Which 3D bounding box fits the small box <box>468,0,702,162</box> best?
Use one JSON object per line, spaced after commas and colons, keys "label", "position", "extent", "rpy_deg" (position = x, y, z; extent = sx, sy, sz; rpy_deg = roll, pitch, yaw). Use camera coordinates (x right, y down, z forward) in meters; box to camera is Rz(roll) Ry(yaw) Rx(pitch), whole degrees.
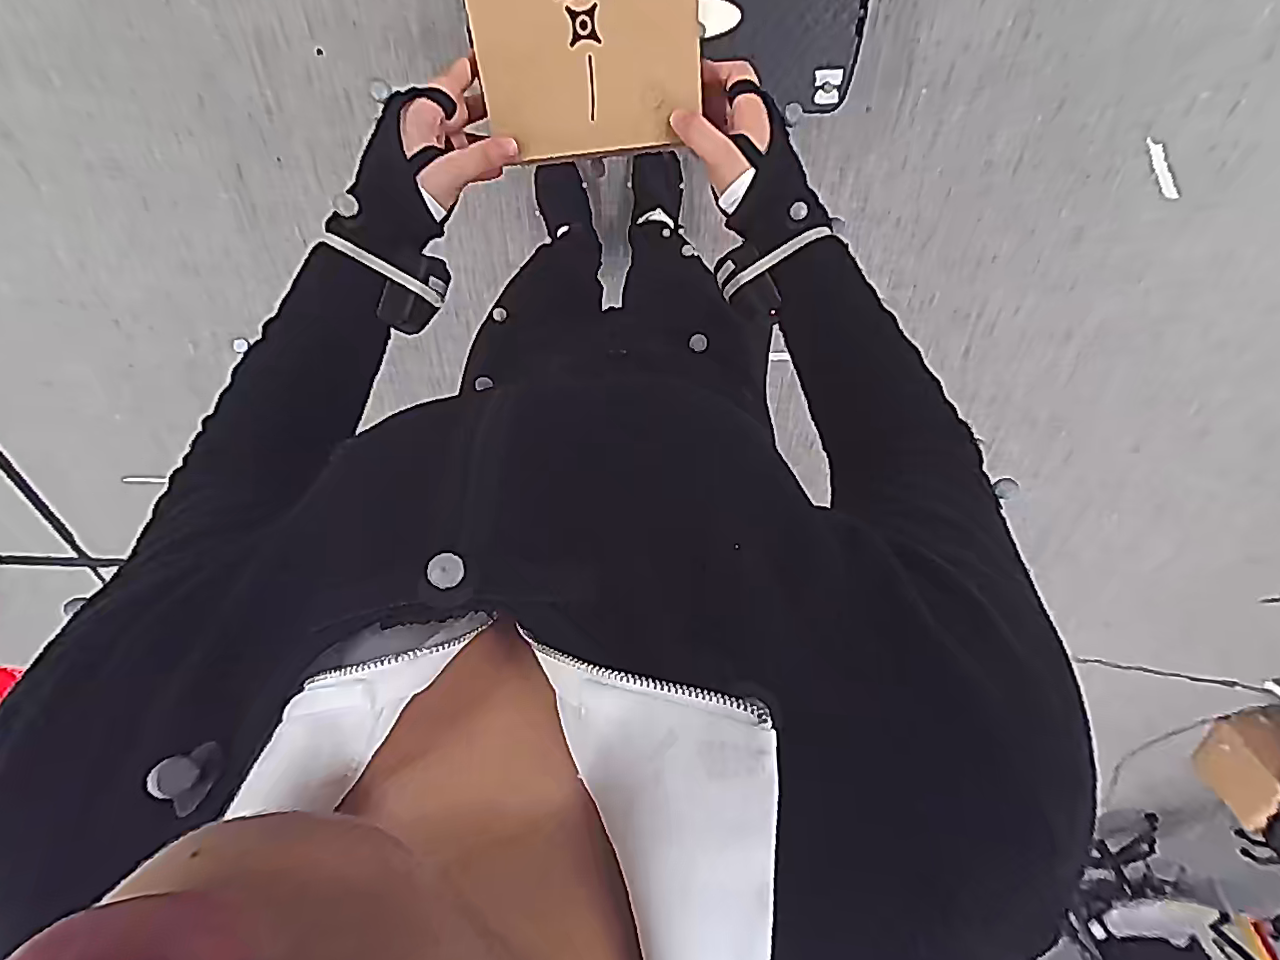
{"label": "small box", "position": [-0.043, -0.374, 0.451], "extent": [0.168, 0.176, 0.179], "rpy_deg": [-6, 121, 1]}

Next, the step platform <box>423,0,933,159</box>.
{"label": "step platform", "position": [0.050, -0.663, 0.811], "extent": [0.684, 0.204, 0.286], "rpy_deg": [-1, 126, 1]}
